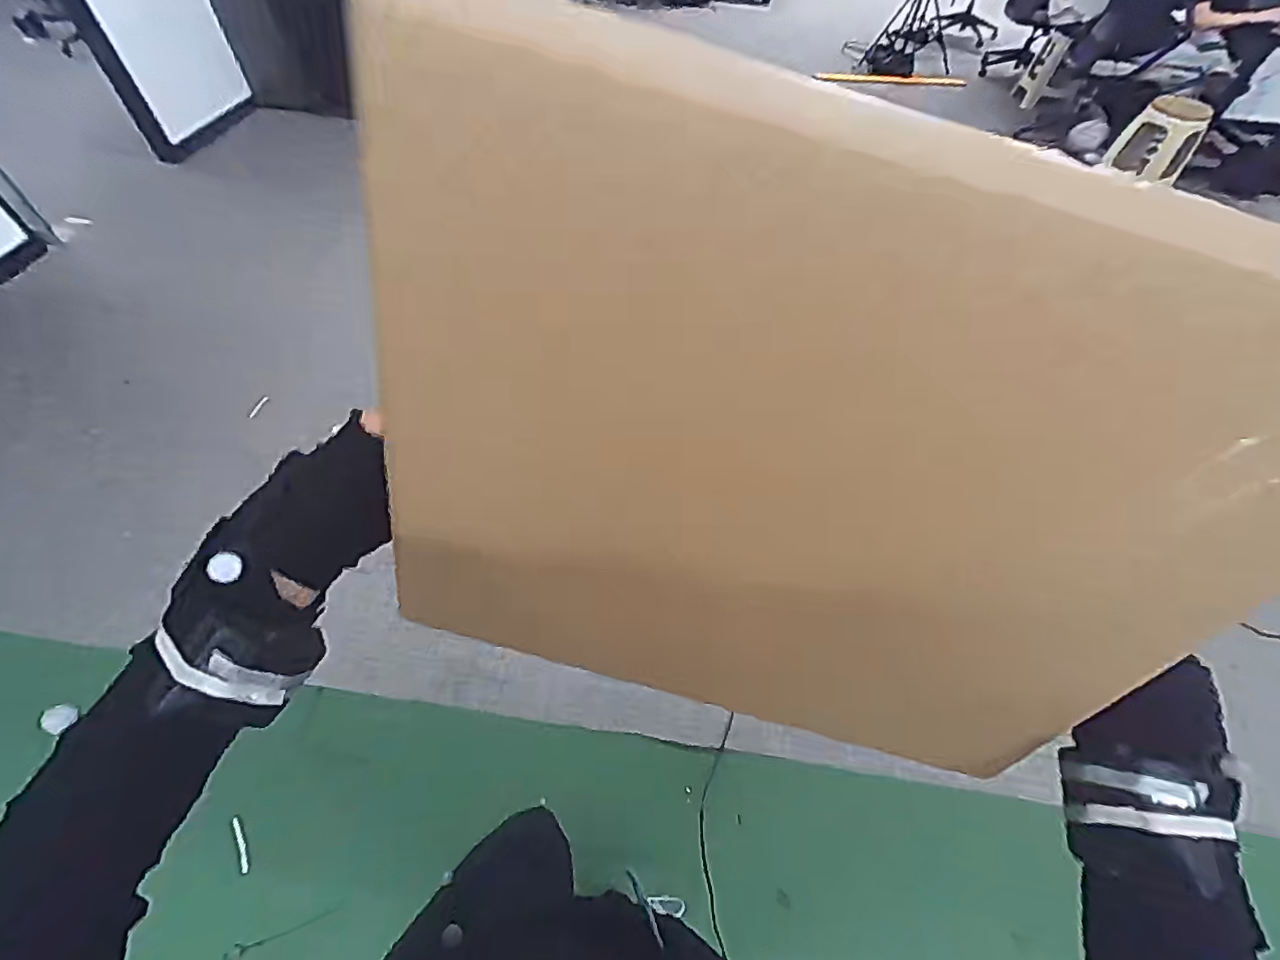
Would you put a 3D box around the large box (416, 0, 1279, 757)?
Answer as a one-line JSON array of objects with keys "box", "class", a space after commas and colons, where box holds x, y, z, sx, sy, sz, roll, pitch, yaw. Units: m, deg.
[{"box": [0.101, -0.064, 0.382, 0.408, 0.320, 0.320, 17, 39, -3], "class": "large box"}]
